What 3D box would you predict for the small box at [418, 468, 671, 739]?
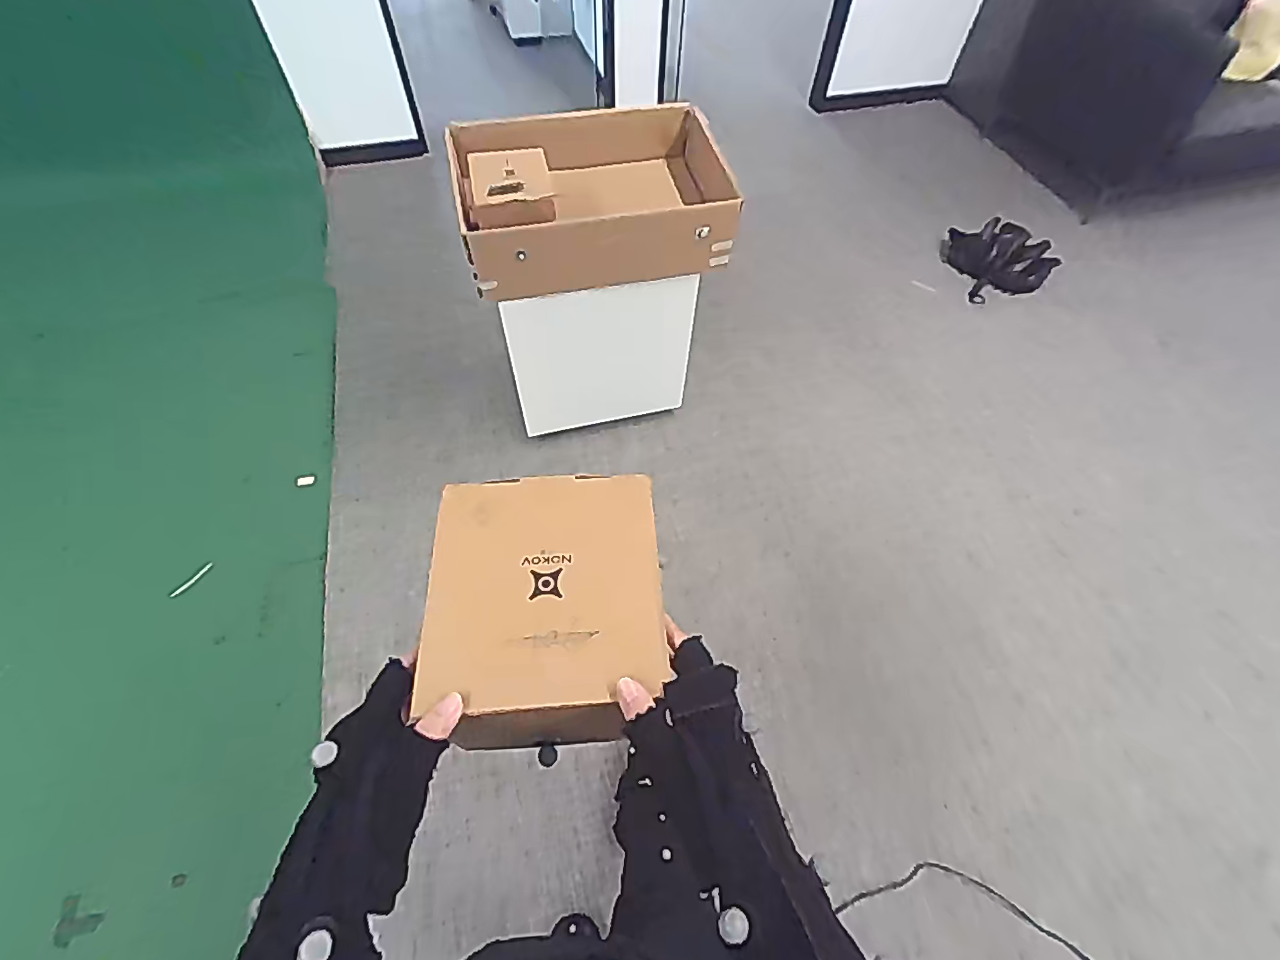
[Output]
[{"bbox_3d":[-0.069,0.109,0.460,0.168,0.176,0.179,-2,57,-3],"label":"small box"}]
